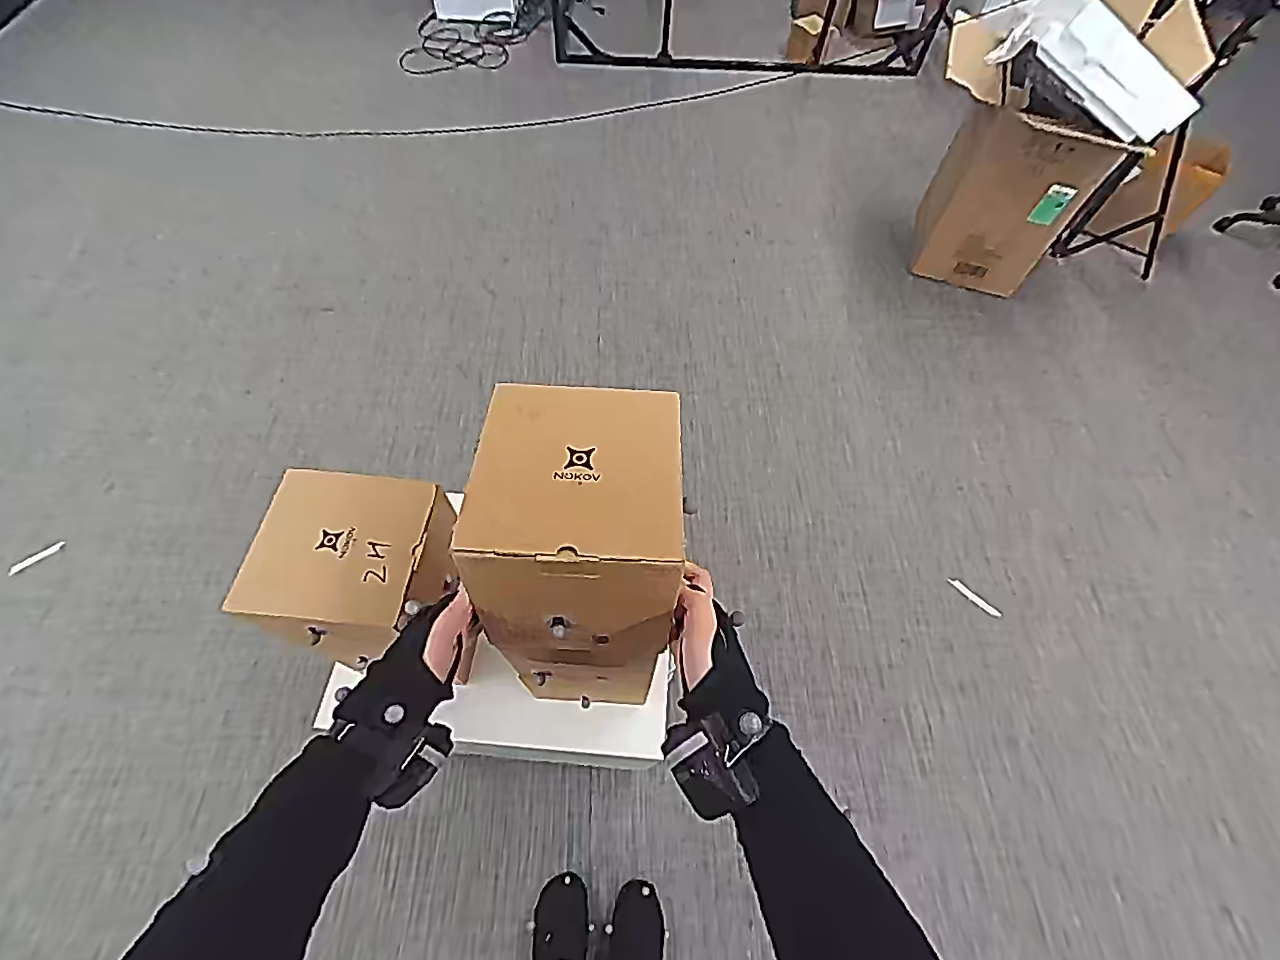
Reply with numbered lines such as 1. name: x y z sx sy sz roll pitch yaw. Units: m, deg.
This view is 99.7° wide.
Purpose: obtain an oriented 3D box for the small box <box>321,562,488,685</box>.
1. small box: -0.323 0.182 0.783 0.168 0.176 0.179 6 59 1

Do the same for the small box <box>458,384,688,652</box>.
1. small box: -0.049 0.038 0.491 0.168 0.176 0.179 3 53 -1

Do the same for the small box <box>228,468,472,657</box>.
1. small box: -0.317 0.104 0.638 0.179 0.176 0.168 6 61 0

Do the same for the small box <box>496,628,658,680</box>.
1. small box: -0.057 0.130 0.638 0.168 0.176 0.179 4 59 0
